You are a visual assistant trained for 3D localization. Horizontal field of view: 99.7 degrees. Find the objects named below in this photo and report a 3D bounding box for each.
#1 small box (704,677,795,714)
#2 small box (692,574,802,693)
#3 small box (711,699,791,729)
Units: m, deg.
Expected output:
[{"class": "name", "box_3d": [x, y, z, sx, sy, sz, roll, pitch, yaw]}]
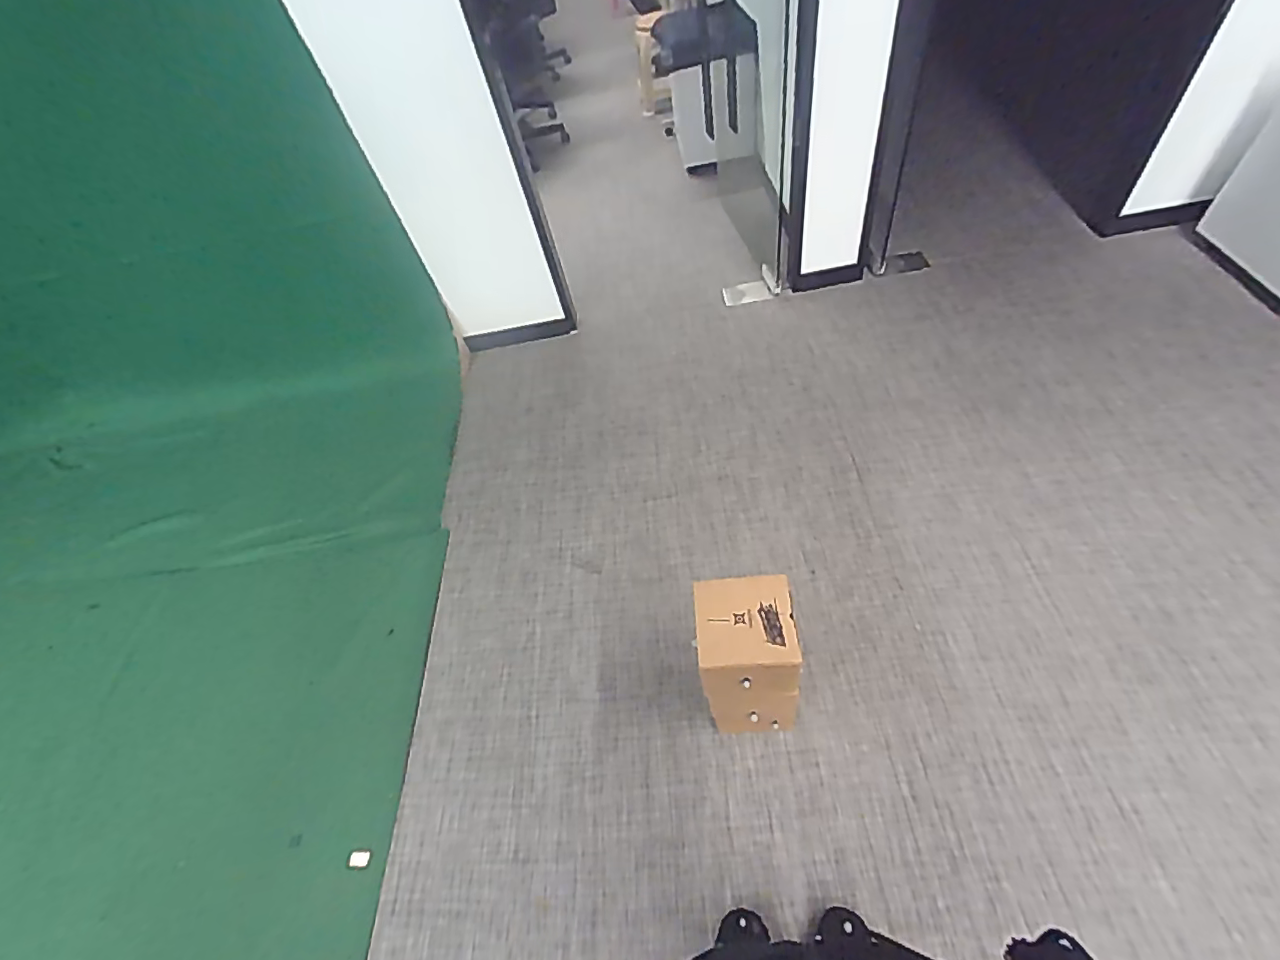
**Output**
[{"class": "small box", "box_3d": [0.226, 0.393, 1.156, 0.179, 0.176, 0.168, -4, 53, 9]}, {"class": "small box", "box_3d": [0.195, 0.295, 1.027, 0.179, 0.176, 0.168, -7, 53, 5]}, {"class": "small box", "box_3d": [0.254, 0.484, 1.289, 0.179, 0.176, 0.168, -8, 52, 8]}]
